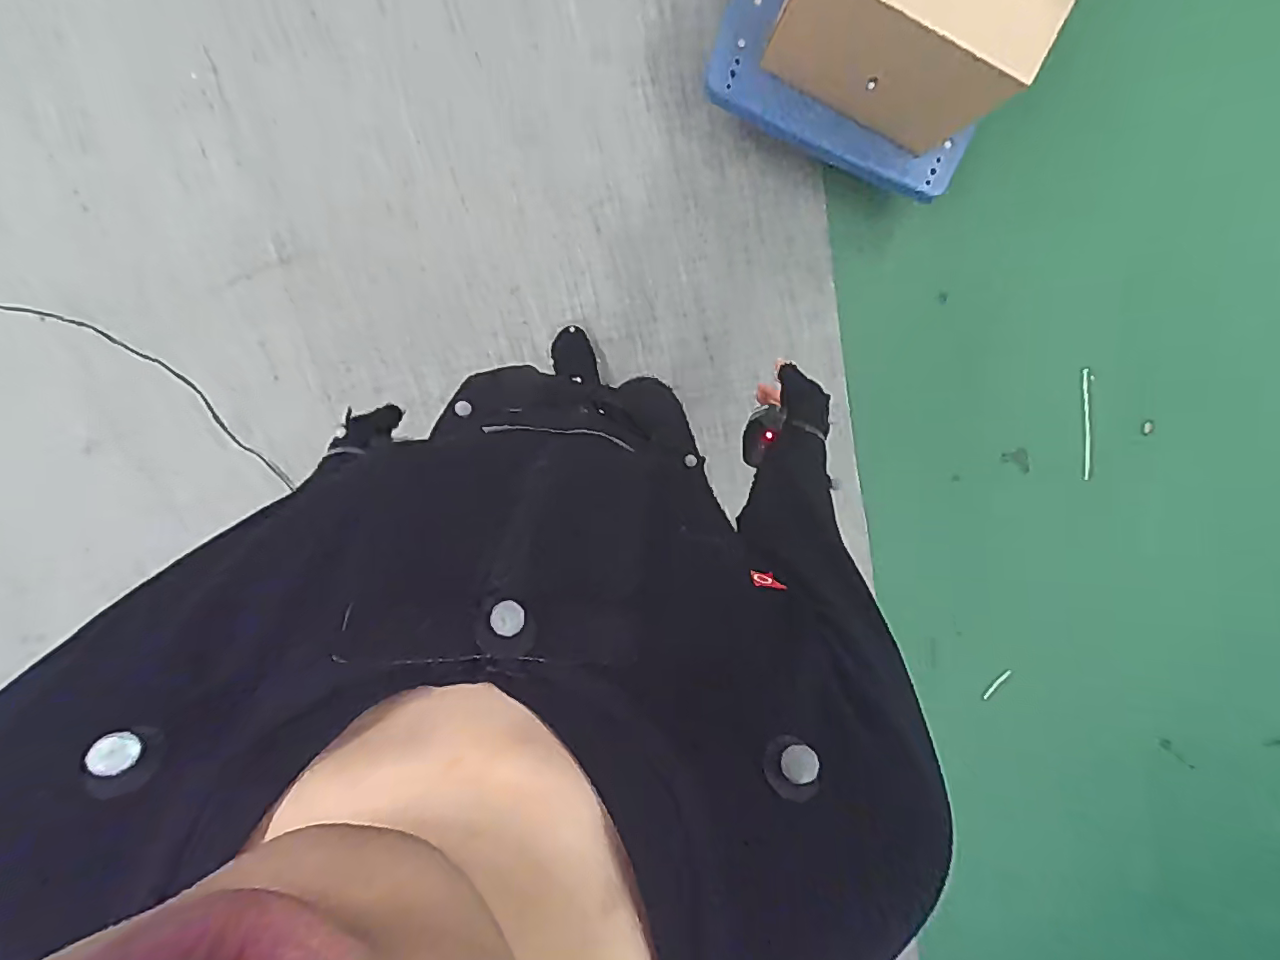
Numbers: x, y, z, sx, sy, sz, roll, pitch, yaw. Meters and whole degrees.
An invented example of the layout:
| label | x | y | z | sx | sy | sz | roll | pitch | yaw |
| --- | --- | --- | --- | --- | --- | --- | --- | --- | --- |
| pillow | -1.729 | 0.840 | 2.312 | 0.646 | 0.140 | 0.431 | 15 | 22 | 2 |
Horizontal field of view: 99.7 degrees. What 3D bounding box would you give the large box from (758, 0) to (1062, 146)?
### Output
| label | x | y | z | sx | sy | sz | roll | pitch | yaw |
| --- | --- | --- | --- | --- | --- | --- | --- | --- | --- |
| large box | 0.483 | -0.879 | 0.956 | 0.408 | 0.320 | 0.320 | 23 | 100 | -7 |
